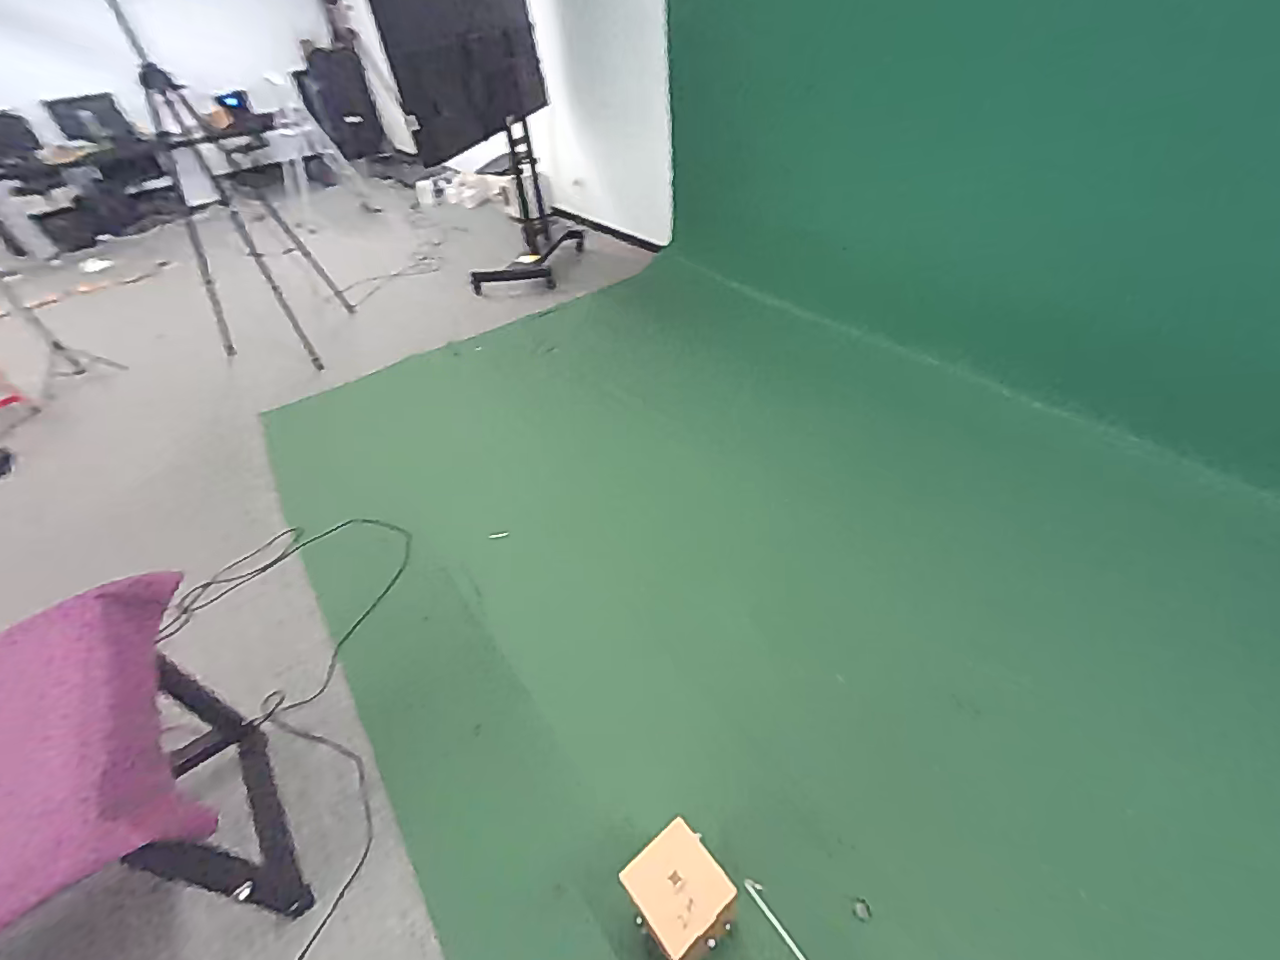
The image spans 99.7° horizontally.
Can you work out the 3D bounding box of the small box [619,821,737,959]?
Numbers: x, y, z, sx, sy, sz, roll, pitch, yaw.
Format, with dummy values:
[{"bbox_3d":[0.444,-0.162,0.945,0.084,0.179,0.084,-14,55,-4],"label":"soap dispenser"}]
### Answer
[{"bbox_3d":[0.077,0.855,1.106,0.168,0.176,0.179,-30,47,-24],"label":"small box"}]
